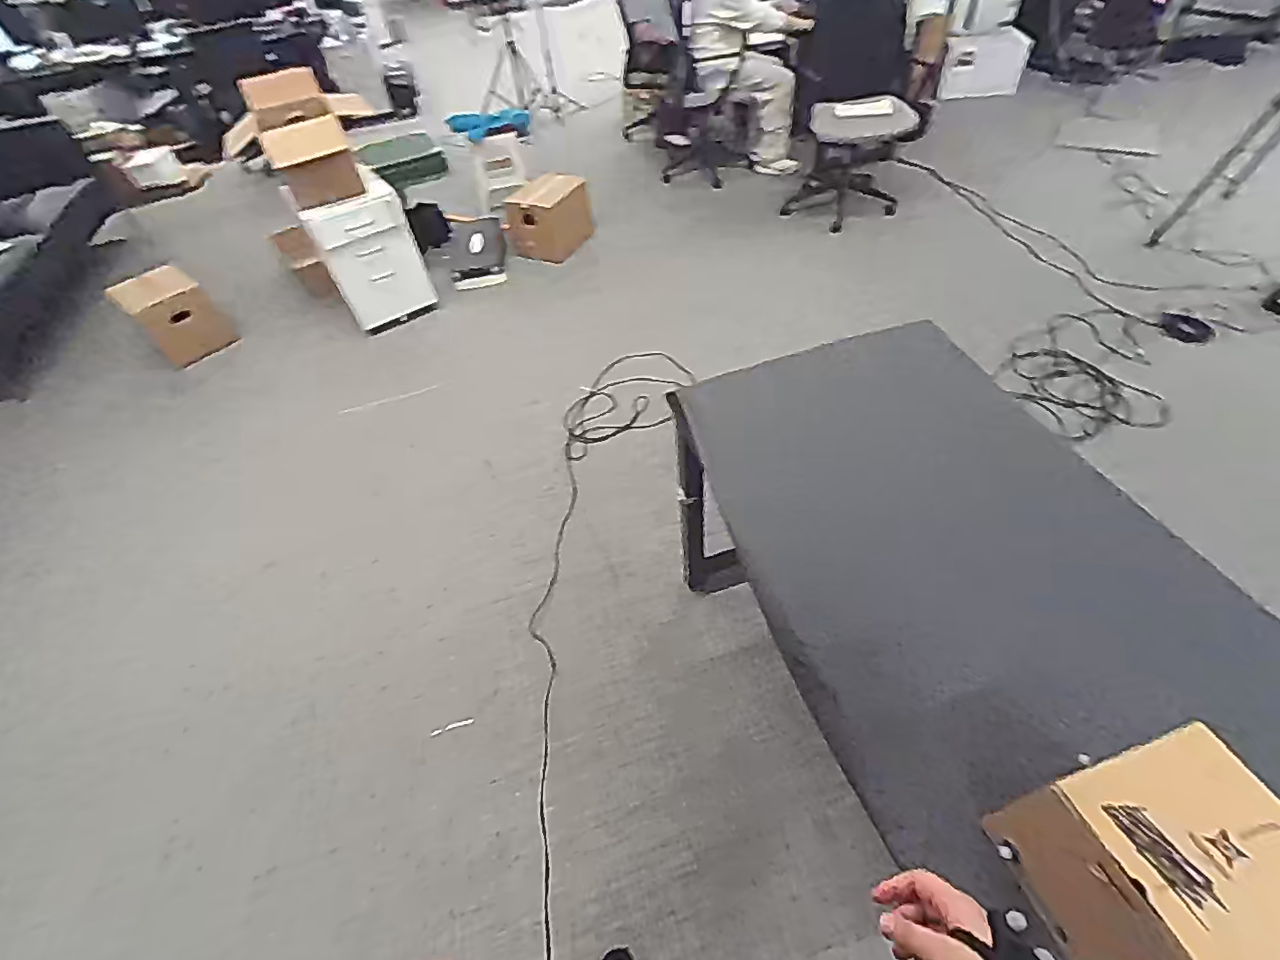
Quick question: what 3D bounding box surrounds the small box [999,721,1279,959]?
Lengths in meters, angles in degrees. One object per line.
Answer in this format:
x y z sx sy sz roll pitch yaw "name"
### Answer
0.485 0.363 0.512 0.179 0.176 0.168 -14 47 -10 "small box"
